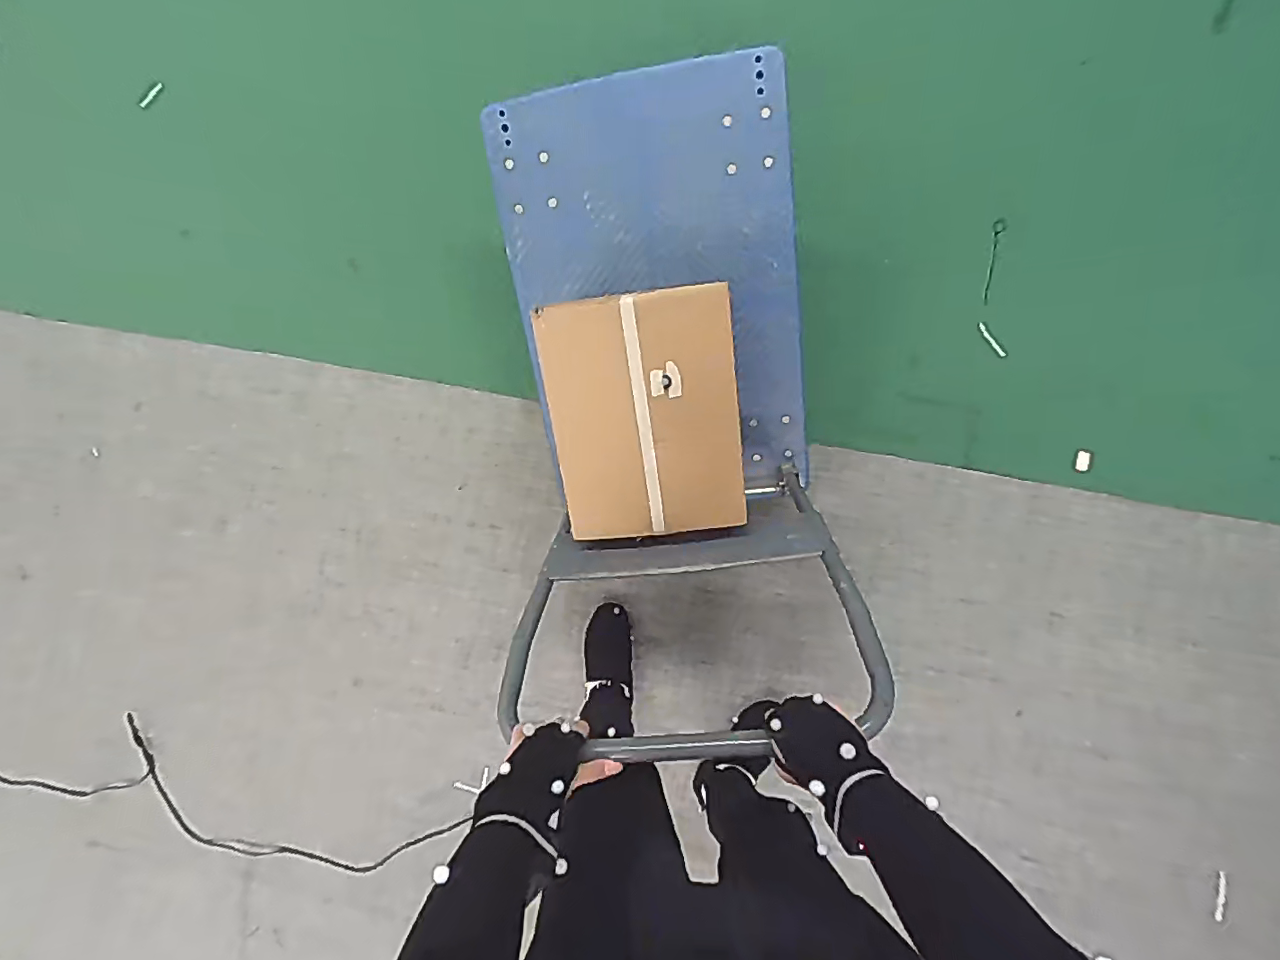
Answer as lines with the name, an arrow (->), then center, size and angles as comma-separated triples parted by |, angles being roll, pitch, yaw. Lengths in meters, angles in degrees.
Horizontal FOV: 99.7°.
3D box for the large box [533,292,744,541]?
large box -> 0.019, -0.135, 1.065 | 0.320, 0.320, 0.408 | -7, 107, 7
